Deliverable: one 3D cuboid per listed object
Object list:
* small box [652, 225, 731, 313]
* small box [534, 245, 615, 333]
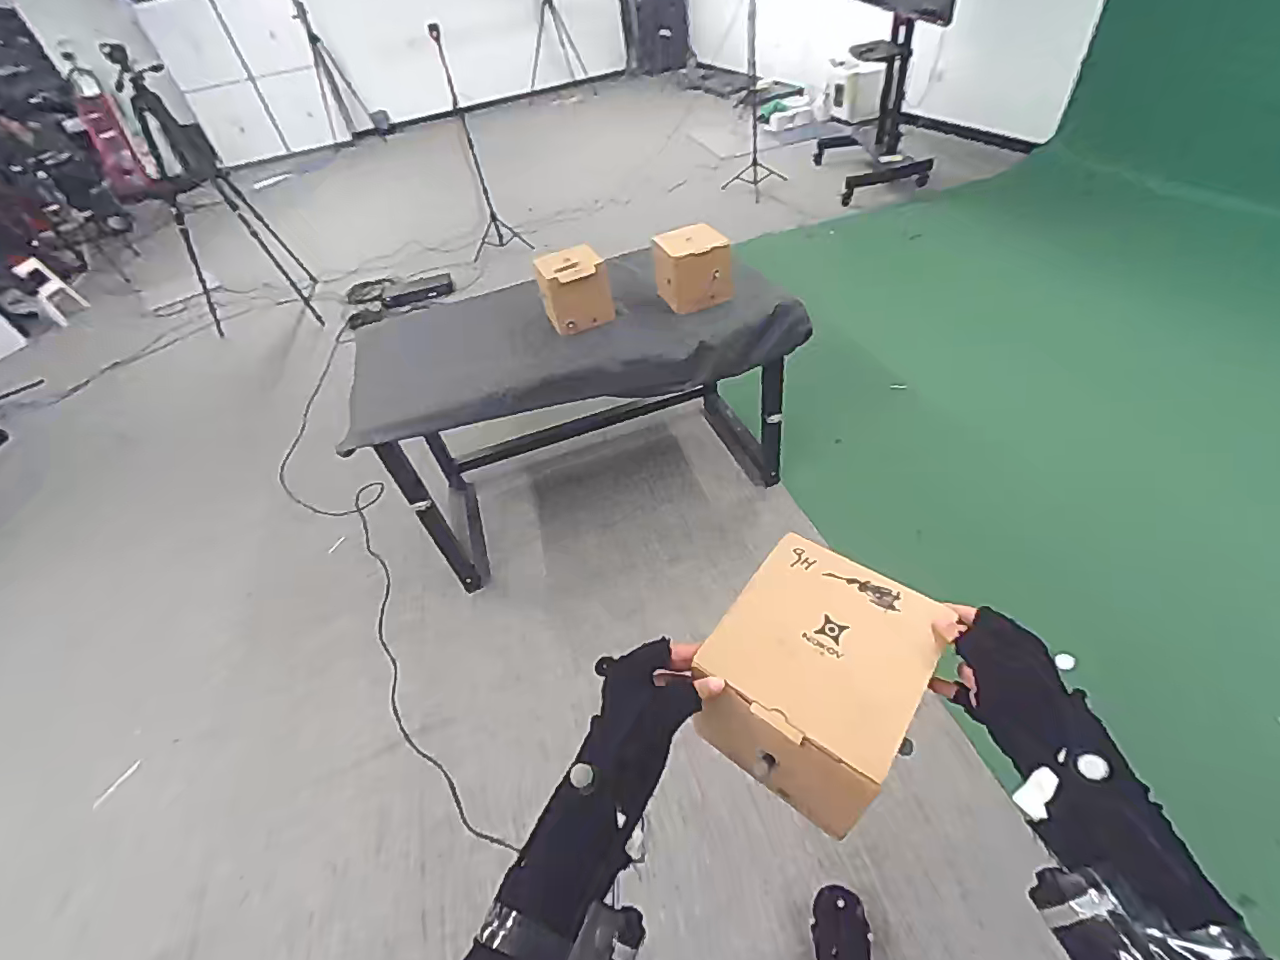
[{"bbox_3d":[0.147,-0.589,1.522,0.168,0.176,0.179,-19,43,-9],"label":"small box"},{"bbox_3d":[-0.182,-0.536,1.535,0.168,0.176,0.179,-21,44,-10],"label":"small box"}]
